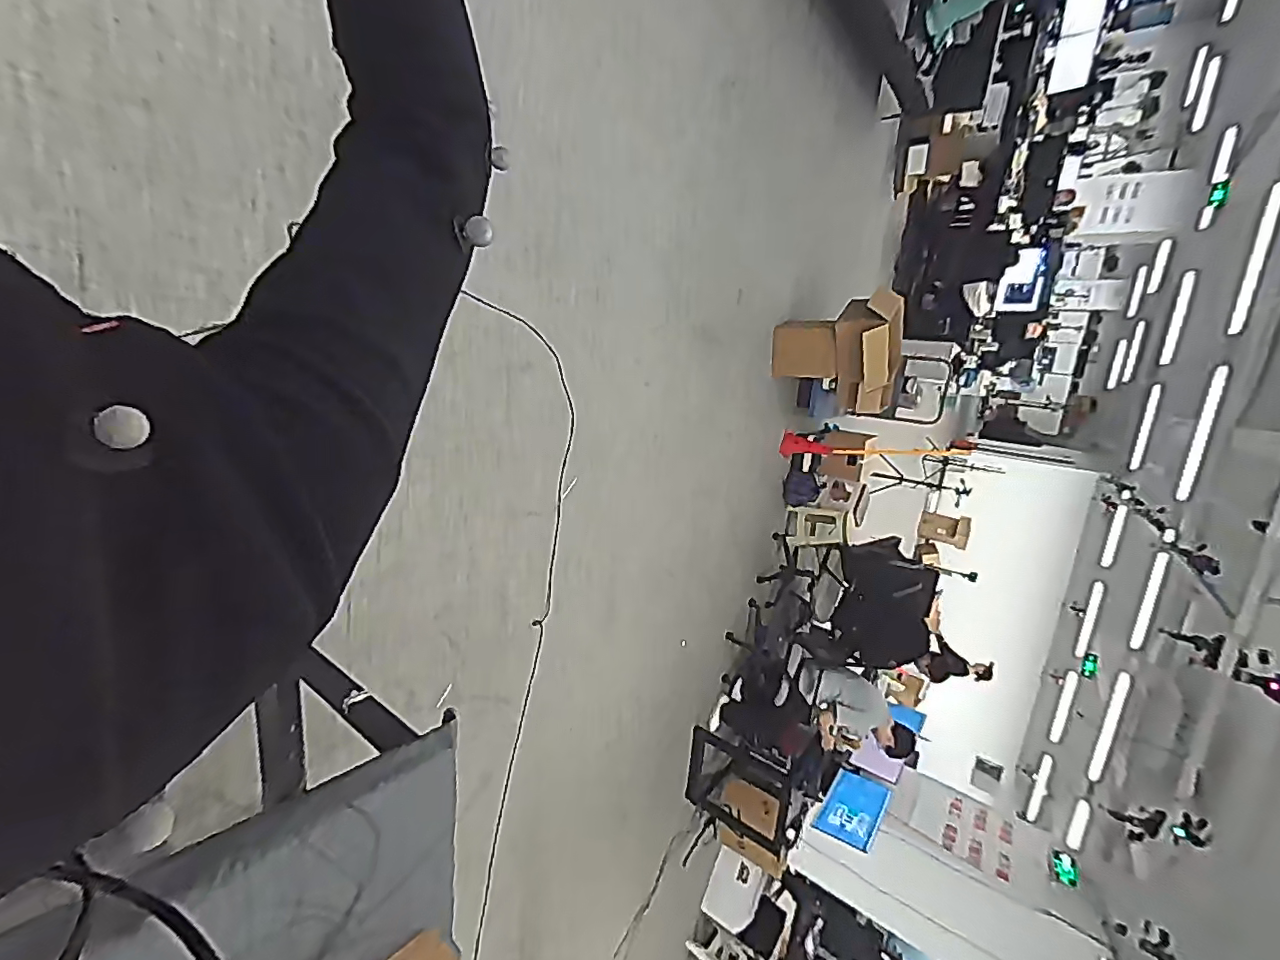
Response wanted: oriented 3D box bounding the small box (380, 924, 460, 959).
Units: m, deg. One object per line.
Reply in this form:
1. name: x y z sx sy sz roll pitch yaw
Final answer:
1. small box: -0.428 0.998 1.000 0.179 0.176 0.168 -11 110 -52
